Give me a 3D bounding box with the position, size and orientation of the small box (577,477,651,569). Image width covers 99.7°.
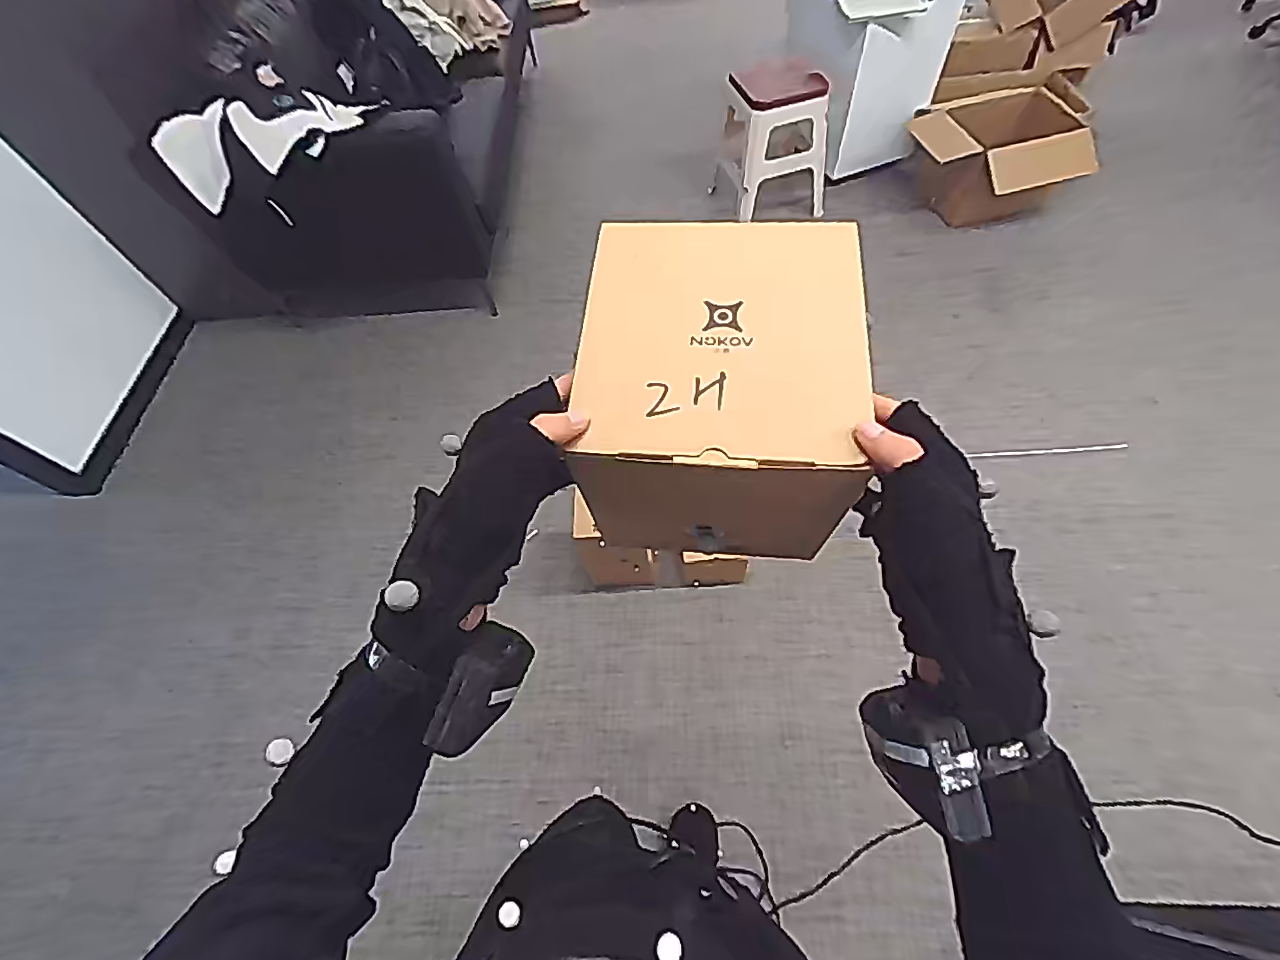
[{"bbox_3d":[-0.058,0.107,1.341,0.168,0.176,0.179,-3,57,4],"label":"small box"}]

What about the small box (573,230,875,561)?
[{"bbox_3d":[0.058,-0.054,0.398,0.168,0.176,0.179,3,65,8],"label":"small box"}]

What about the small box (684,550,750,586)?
[{"bbox_3d":[0.201,0.181,1.461,0.168,0.176,0.179,-4,58,3],"label":"small box"}]
